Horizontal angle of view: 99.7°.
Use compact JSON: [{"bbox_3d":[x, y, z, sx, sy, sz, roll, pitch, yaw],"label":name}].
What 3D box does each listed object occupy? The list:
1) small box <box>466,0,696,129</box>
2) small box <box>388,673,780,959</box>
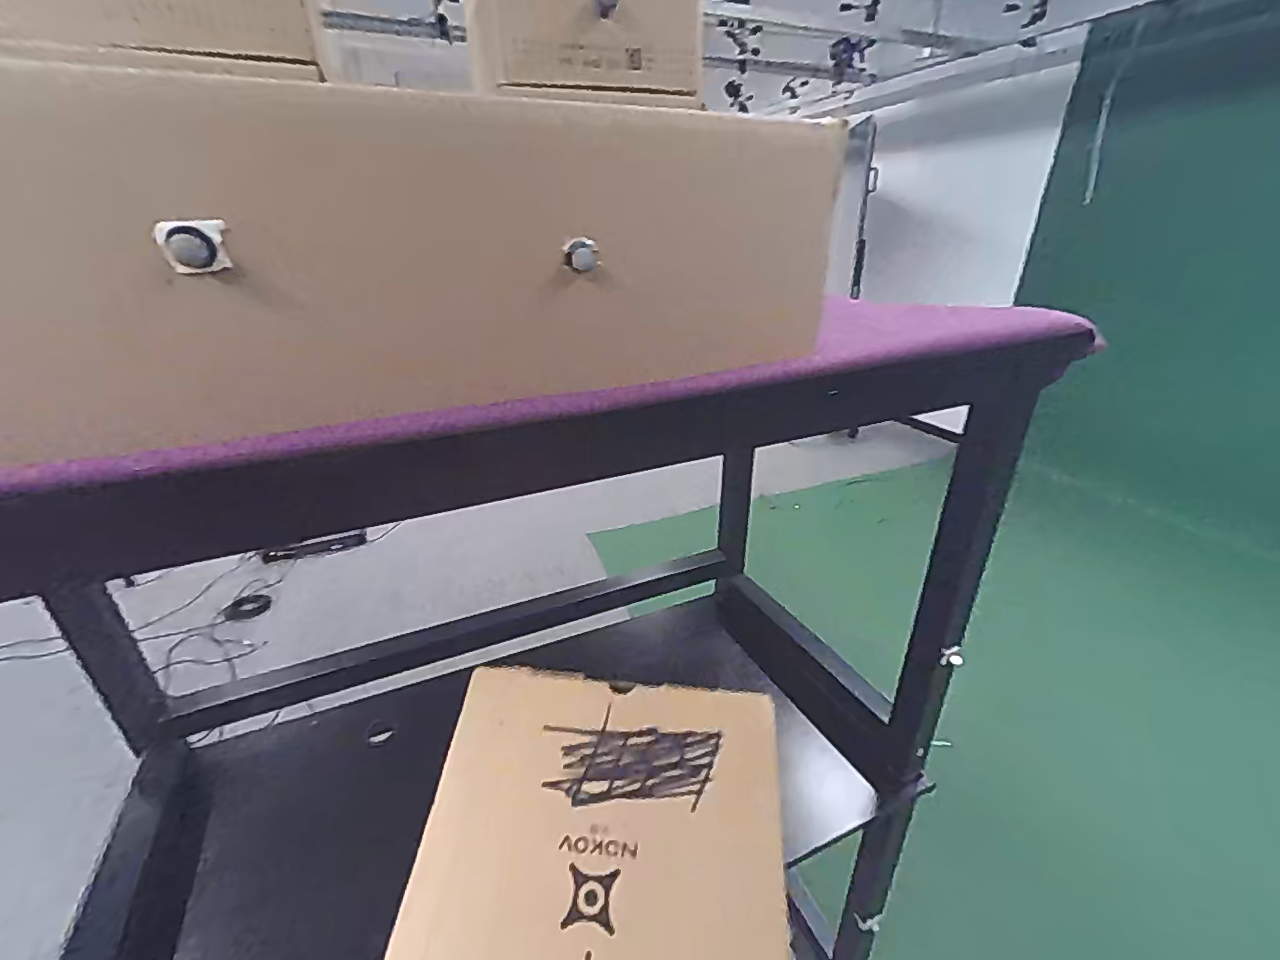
[{"bbox_3d":[-0.060,-0.418,0.474,0.168,0.176,0.179,-12,27,-18],"label":"small box"},{"bbox_3d":[-0.018,0.235,0.305,0.168,0.176,0.179,4,48,6],"label":"small box"}]
